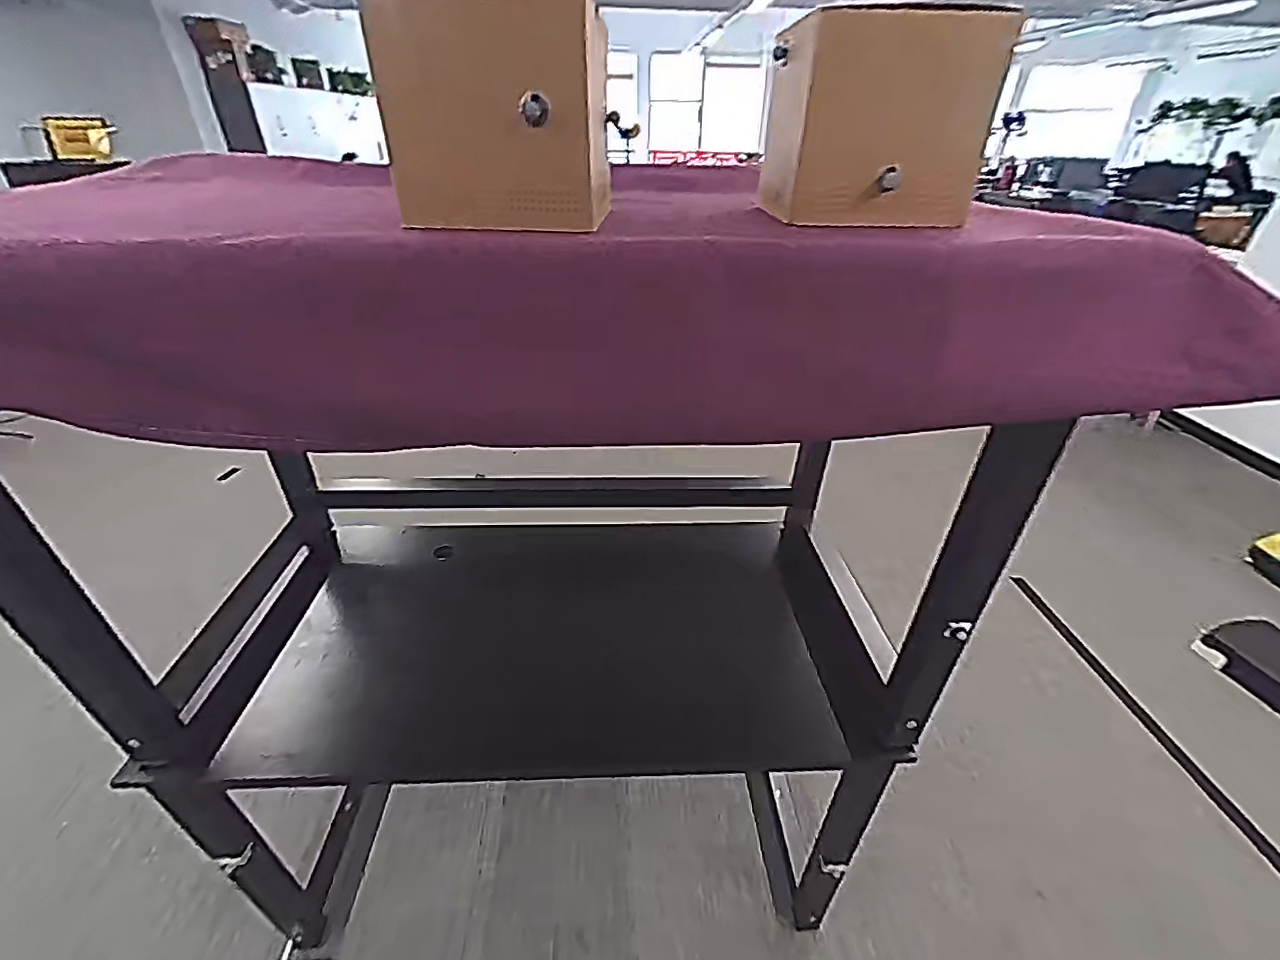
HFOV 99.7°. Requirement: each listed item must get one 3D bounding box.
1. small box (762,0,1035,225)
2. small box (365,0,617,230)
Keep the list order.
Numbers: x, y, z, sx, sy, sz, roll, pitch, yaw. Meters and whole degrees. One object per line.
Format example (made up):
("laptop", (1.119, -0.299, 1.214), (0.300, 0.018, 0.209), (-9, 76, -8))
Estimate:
("small box", (0.235, -0.361, 0.548), (0.179, 0.176, 0.168), (1, 32, -1))
("small box", (-0.115, -0.335, 0.502), (0.179, 0.176, 0.168), (2, 32, 3))
